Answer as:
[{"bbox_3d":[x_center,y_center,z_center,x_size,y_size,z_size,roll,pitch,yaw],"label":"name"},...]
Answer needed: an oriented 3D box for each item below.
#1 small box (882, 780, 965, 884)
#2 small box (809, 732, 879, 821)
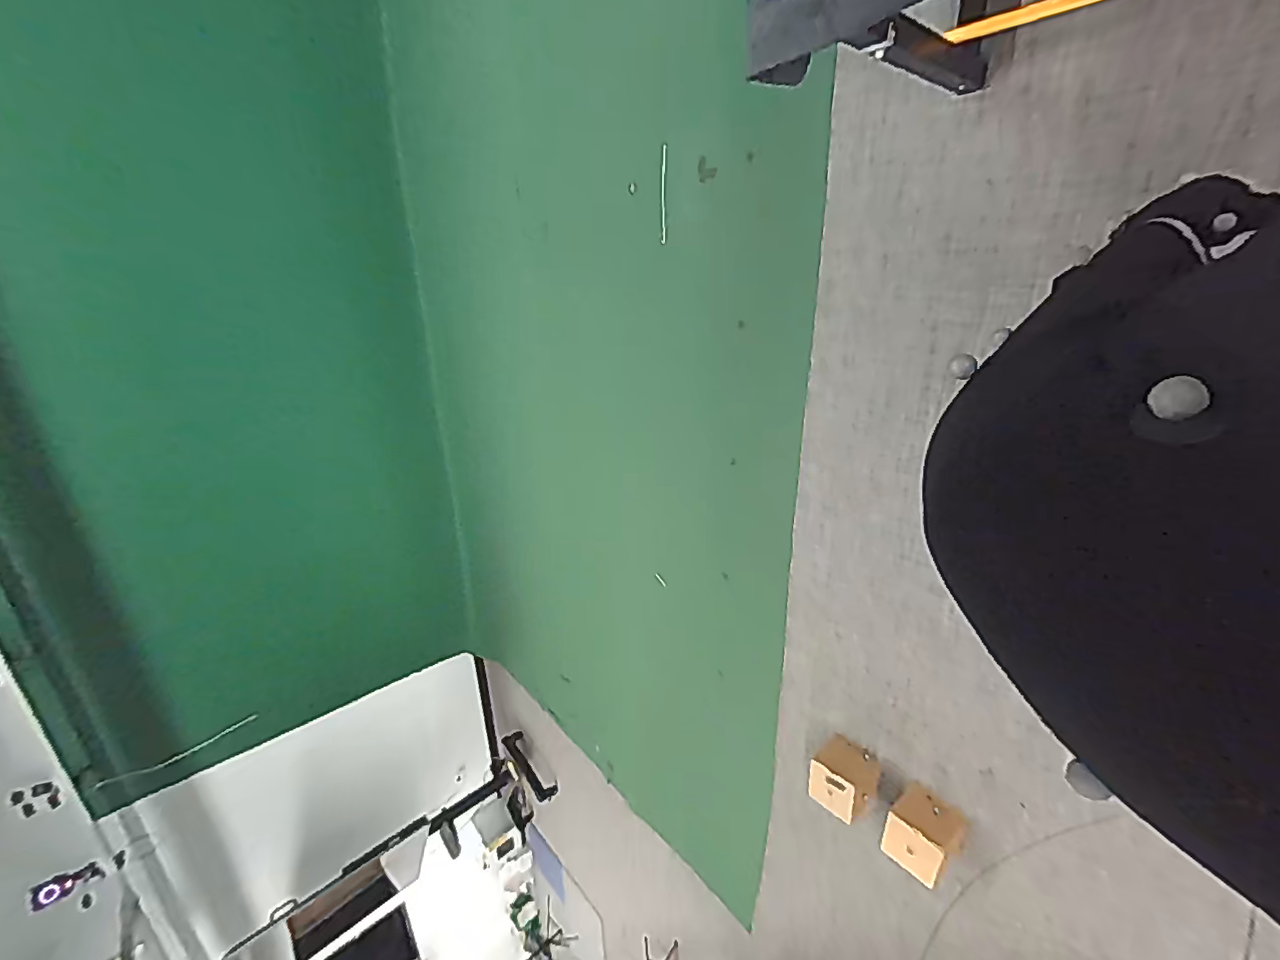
[{"bbox_3d":[0.890,1.096,1.696,0.168,0.176,0.179,24,121,45],"label":"small box"},{"bbox_3d":[0.714,1.025,1.888,0.168,0.176,0.179,20,119,47],"label":"small box"}]
